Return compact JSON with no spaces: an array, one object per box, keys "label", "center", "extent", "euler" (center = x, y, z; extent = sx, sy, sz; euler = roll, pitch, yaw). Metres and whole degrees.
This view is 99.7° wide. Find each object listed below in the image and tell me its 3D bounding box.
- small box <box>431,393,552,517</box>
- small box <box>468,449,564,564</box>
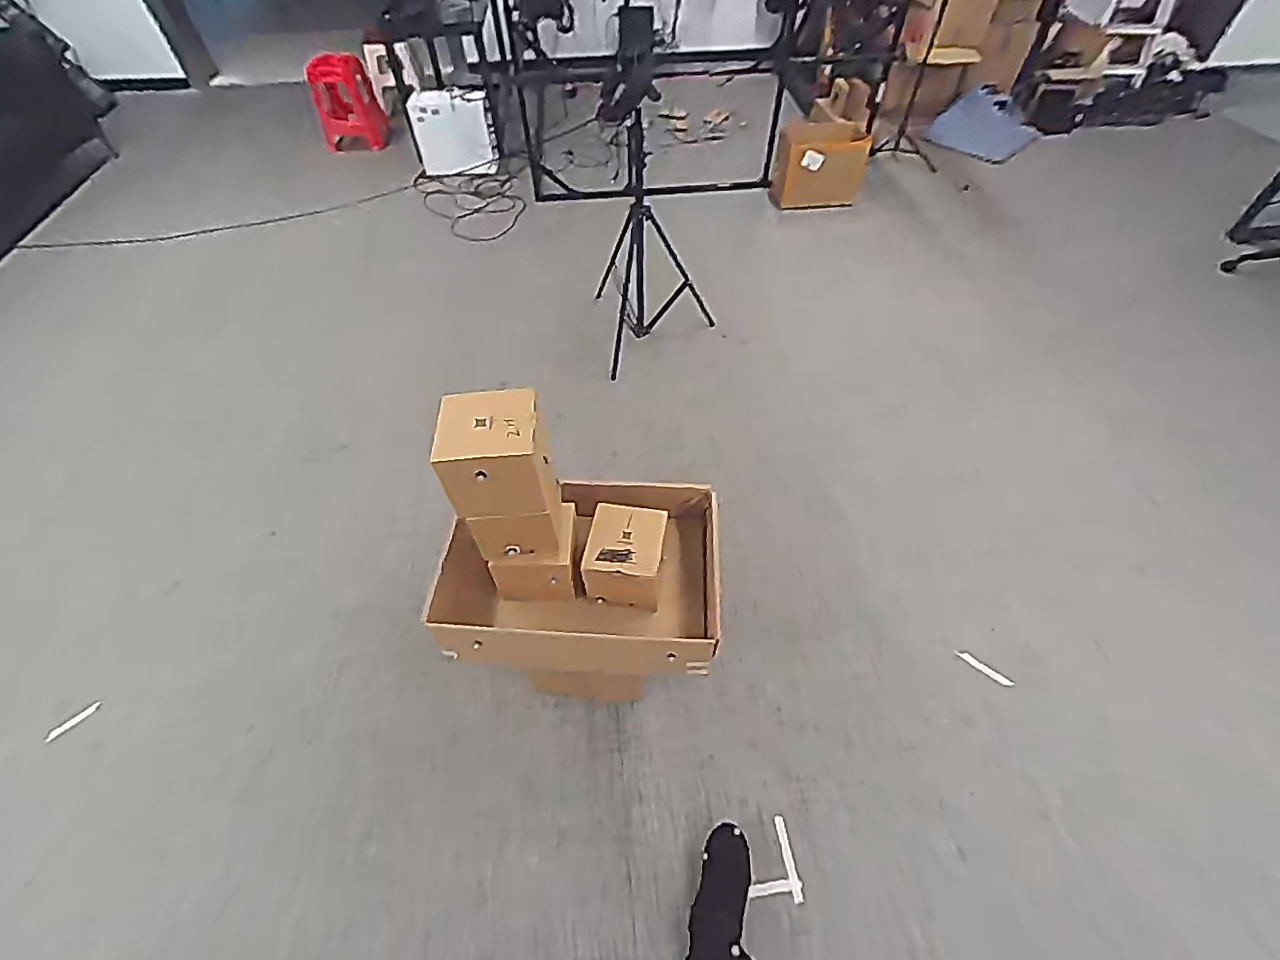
[{"label":"small box","center":[-0.268,-0.042,1.017],"extent":[0.179,0.176,0.168],"euler":[-4,52,-2]},{"label":"small box","center":[-0.254,0.058,1.146],"extent":[0.168,0.176,0.179],"euler":[-5,52,-2]}]
